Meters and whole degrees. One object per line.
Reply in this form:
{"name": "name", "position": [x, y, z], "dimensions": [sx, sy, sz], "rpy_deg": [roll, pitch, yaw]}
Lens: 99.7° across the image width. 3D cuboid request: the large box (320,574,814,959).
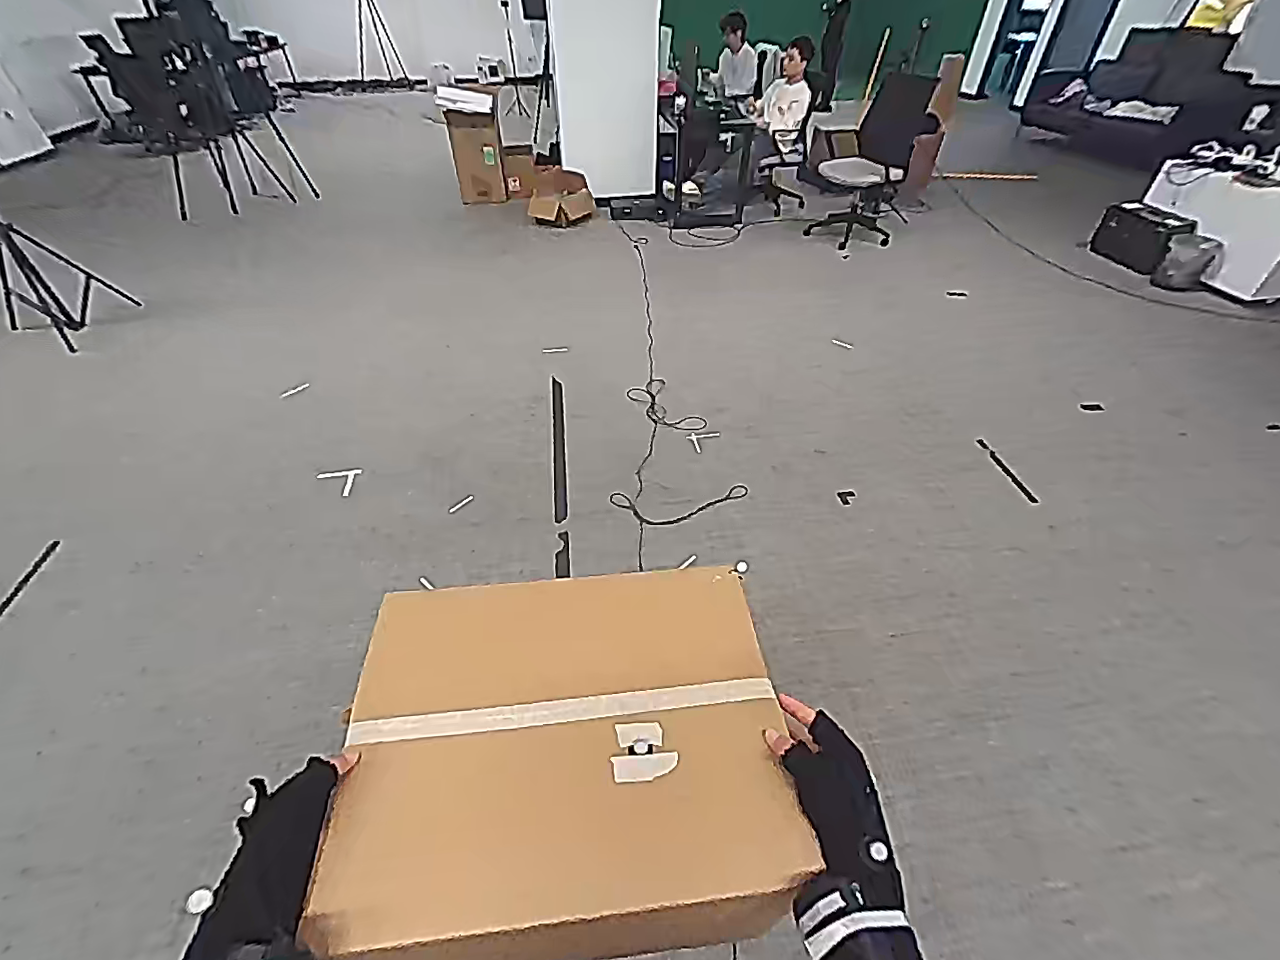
{"name": "large box", "position": [-0.072, 0.341, 0.637], "dimensions": [0.408, 0.320, 0.320], "rpy_deg": [-3, 45, -6]}
